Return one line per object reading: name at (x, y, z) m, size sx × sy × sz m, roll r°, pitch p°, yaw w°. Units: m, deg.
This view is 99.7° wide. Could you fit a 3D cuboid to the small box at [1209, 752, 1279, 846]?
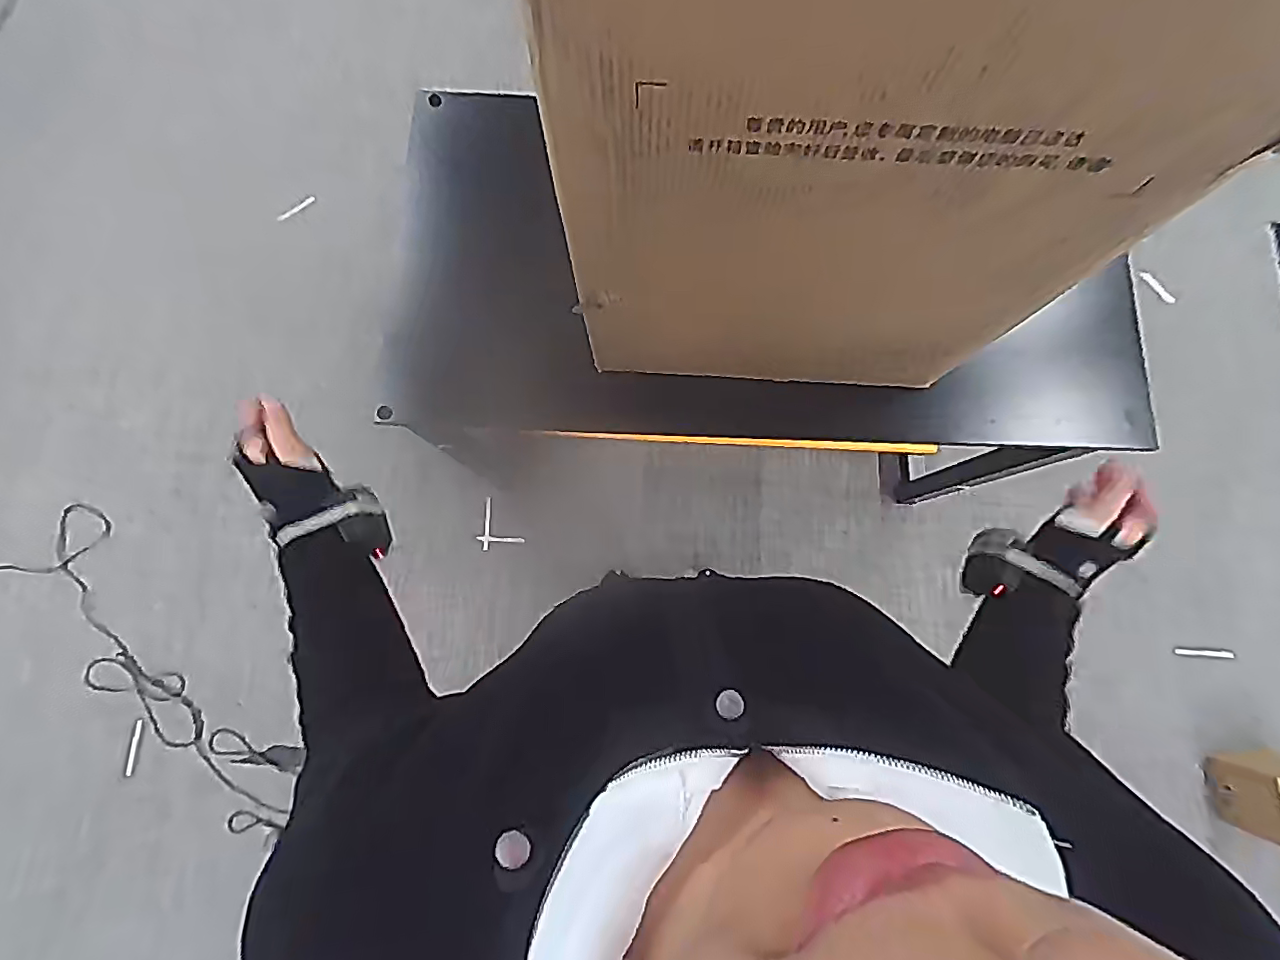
small box at (1.584, 0.782, 1.329) m, size 0.179 × 0.176 × 0.168 m, roll -5°, pitch 79°, yaw 1°
